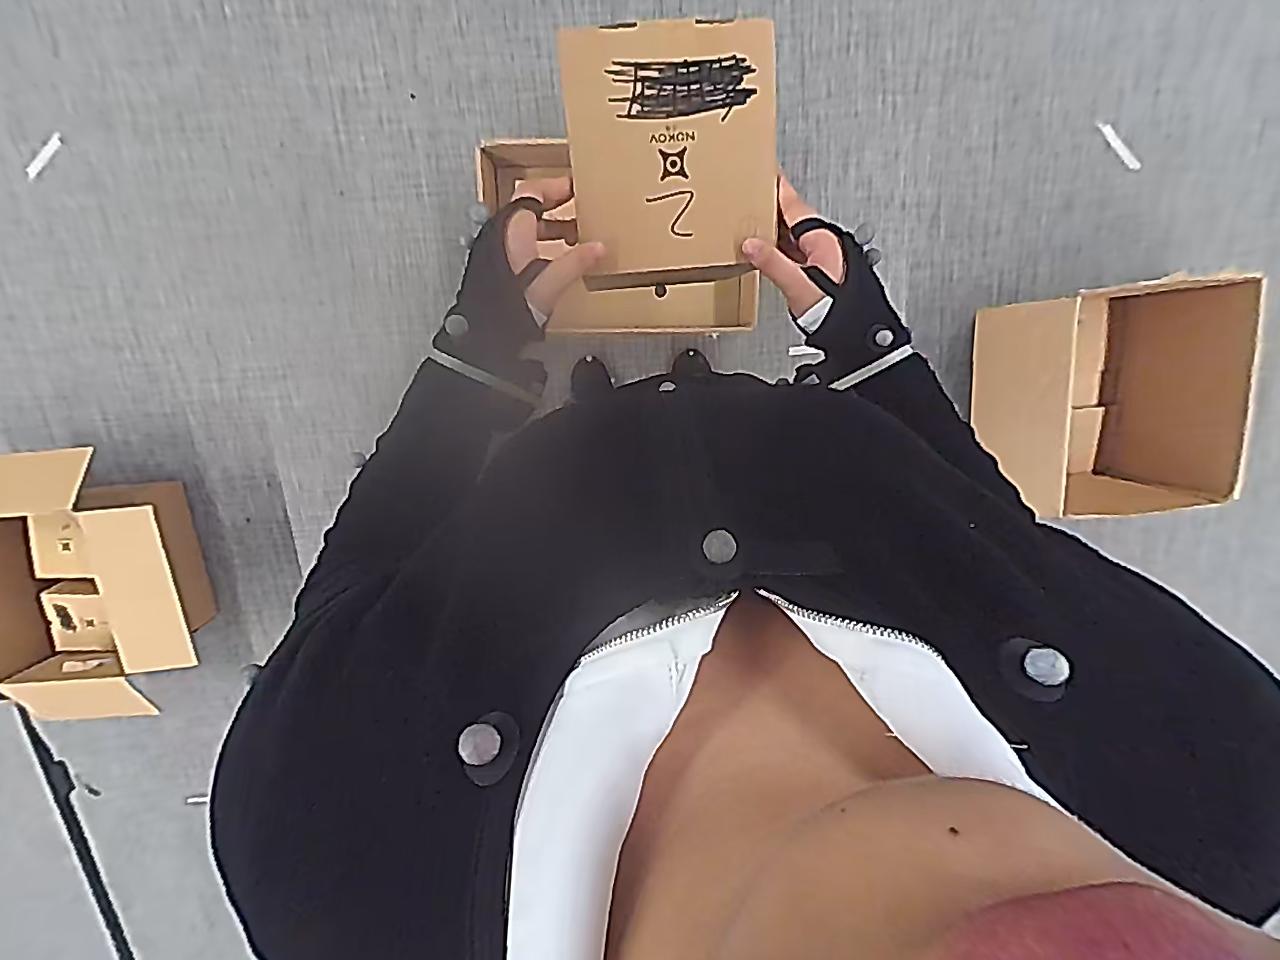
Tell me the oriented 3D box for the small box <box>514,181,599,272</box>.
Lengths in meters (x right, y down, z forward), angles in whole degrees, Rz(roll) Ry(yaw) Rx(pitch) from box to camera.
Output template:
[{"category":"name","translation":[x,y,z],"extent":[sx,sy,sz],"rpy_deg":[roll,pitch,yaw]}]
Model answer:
[{"category":"small box","translation":[-0.185,-0.573,1.242],"extent":[0.179,0.176,0.168],"rpy_deg":[-1,106,-4]}]
